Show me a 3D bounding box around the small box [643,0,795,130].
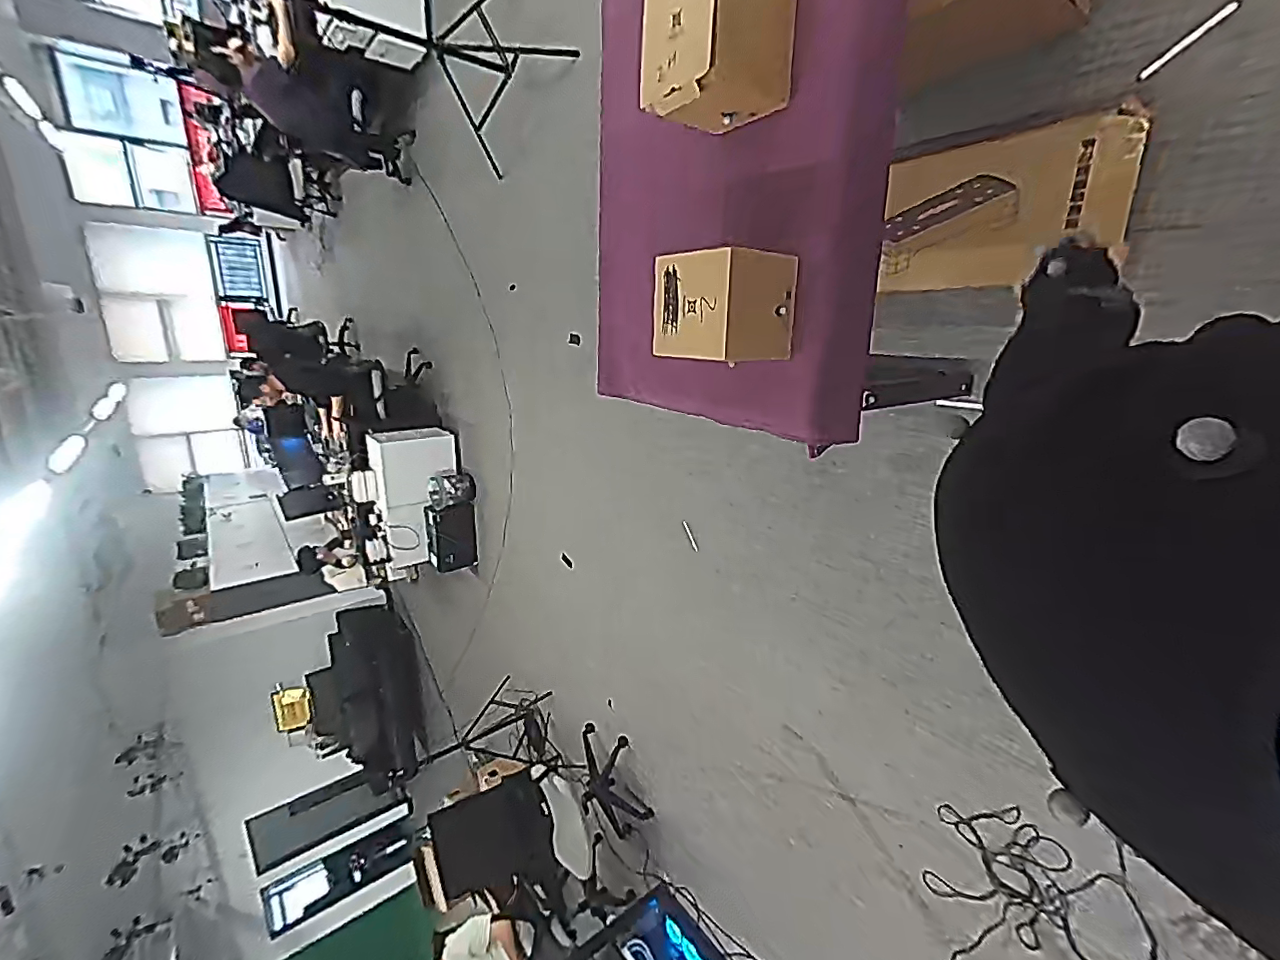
[{"bbox_3d":[0.122,-0.677,0.838,0.168,0.176,0.179,20,115,51],"label":"small box"}]
